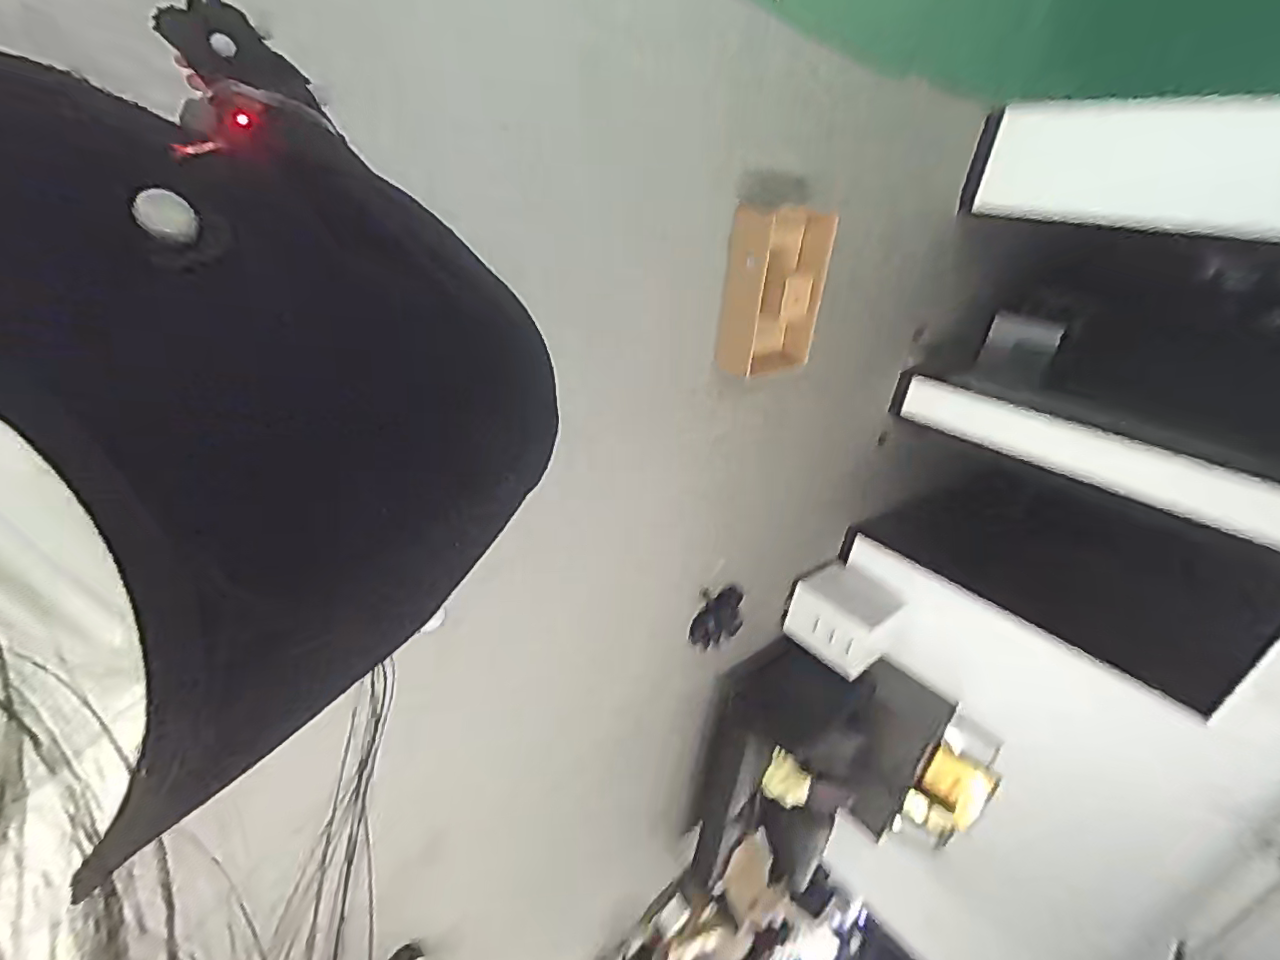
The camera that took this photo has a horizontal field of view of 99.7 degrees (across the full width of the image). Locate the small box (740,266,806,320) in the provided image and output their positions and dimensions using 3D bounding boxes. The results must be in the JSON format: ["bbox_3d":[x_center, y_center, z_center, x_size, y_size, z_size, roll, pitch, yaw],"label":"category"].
[{"bbox_3d":[0.512,-0.733,2.106,0.179,0.176,0.168,-22,130,-37],"label":"small box"}]
